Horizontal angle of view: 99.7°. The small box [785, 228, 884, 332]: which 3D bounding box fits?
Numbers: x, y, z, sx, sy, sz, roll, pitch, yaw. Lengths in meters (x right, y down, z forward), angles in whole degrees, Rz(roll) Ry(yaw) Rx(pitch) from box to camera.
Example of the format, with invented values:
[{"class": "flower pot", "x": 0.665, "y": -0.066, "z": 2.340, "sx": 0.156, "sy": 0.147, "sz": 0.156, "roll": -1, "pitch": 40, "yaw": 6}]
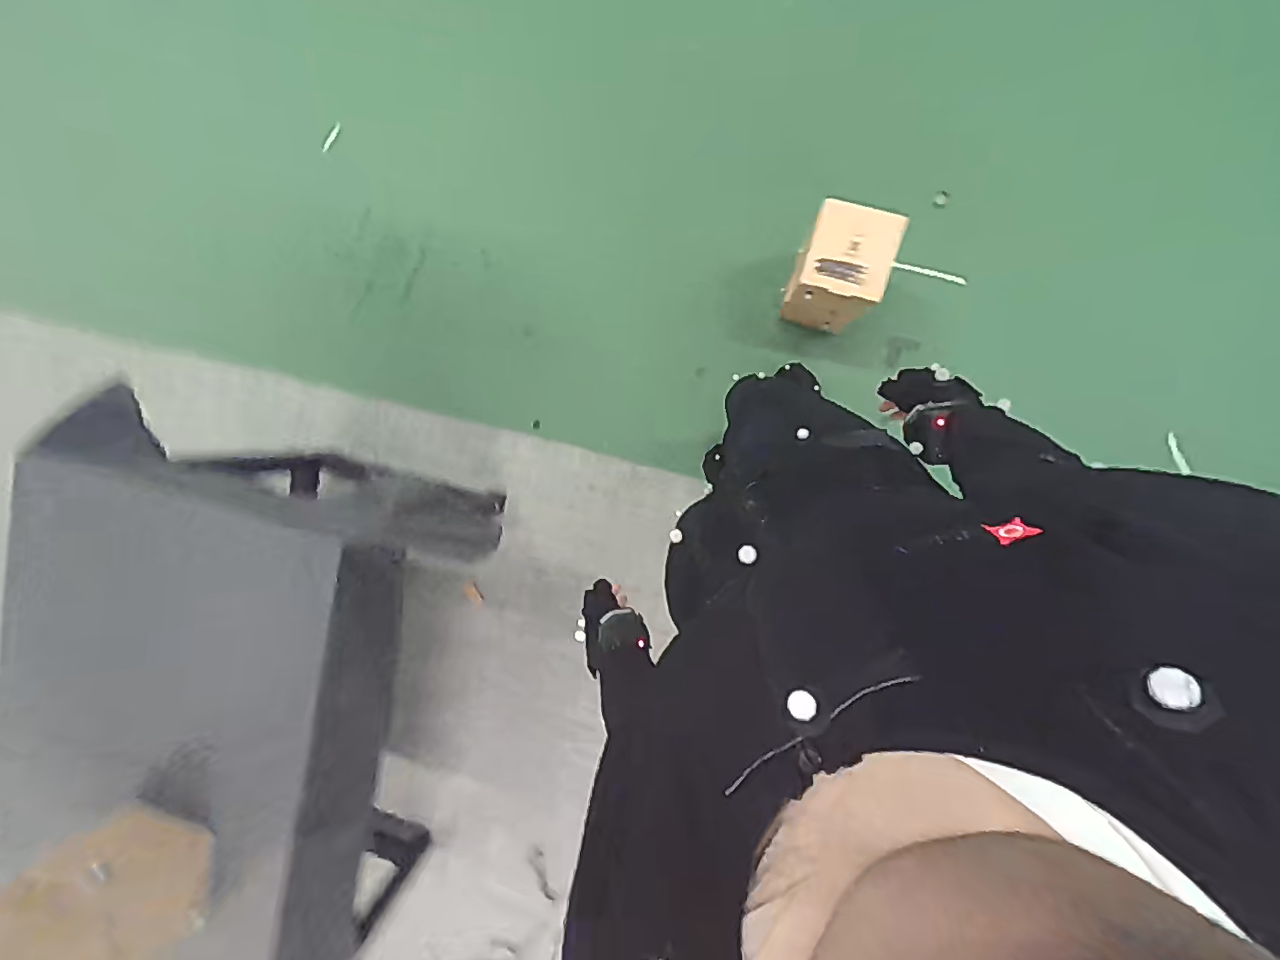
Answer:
[{"class": "small box", "x": 0.465, "y": -0.479, "z": 1.324, "sx": 0.168, "sy": 0.176, "sz": 0.179, "roll": 20, "pitch": 97, "yaw": 6}]
